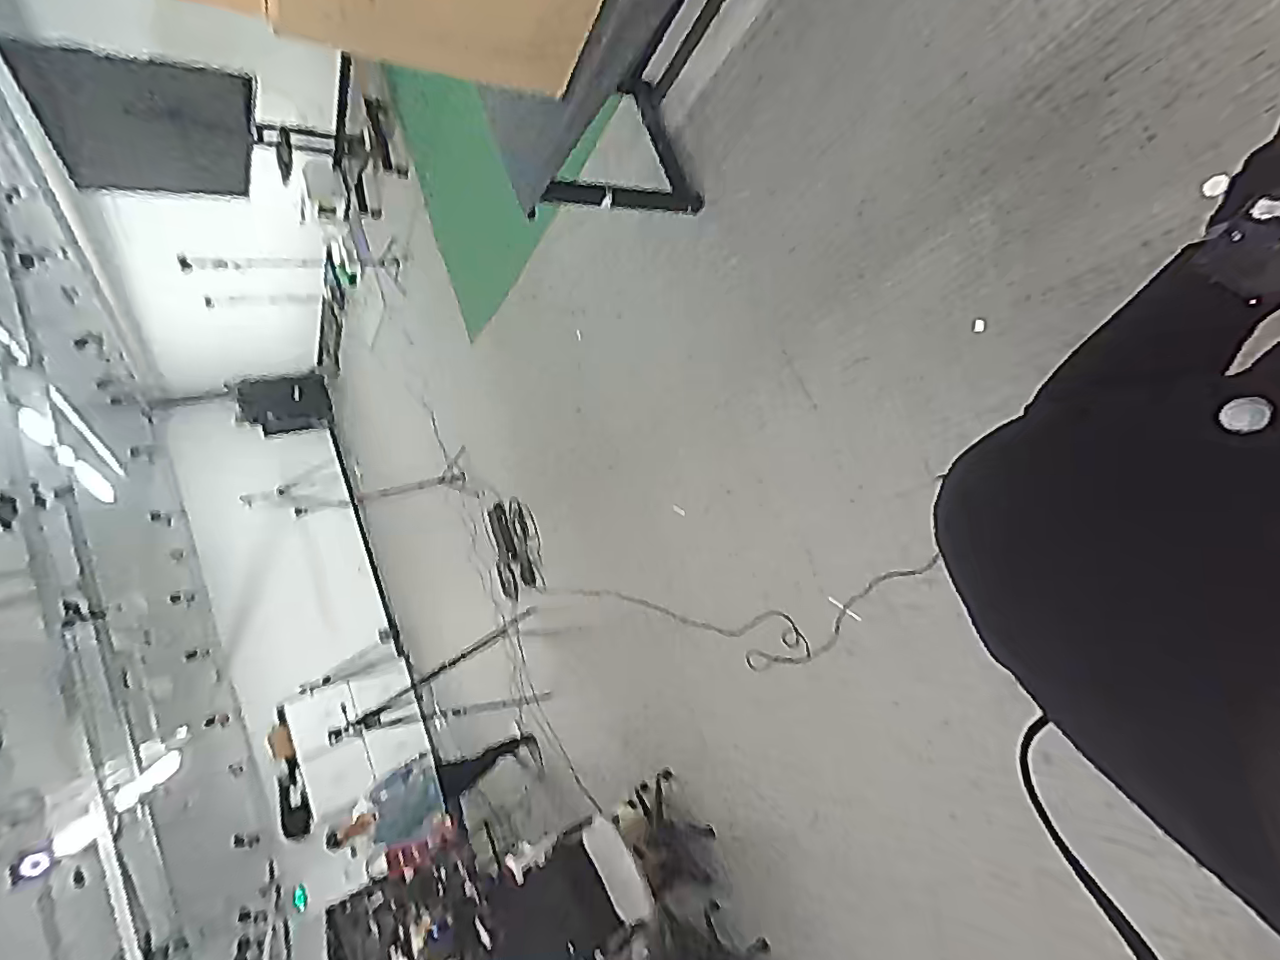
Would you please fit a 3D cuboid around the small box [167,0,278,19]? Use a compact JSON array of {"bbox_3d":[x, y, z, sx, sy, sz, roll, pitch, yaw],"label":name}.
[{"bbox_3d":[-0.731,-0.935,0.911,0.179,0.176,0.168,-33,77,56],"label":"small box"}]
